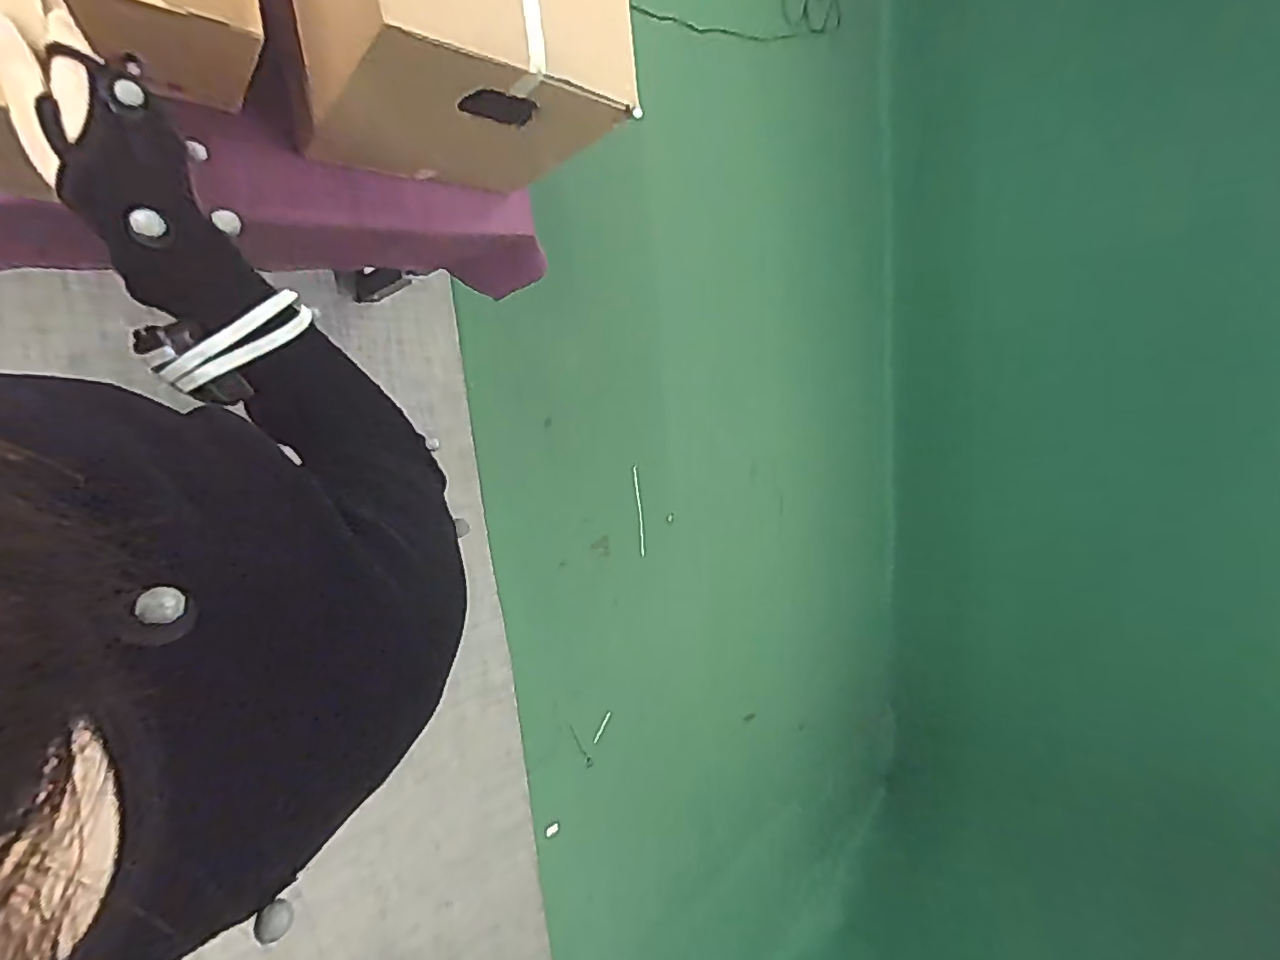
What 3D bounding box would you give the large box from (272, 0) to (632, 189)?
[{"bbox_3d":[-0.242,-0.633,0.653,0.320,0.320,0.408,-16,105,-42],"label":"large box"}]
